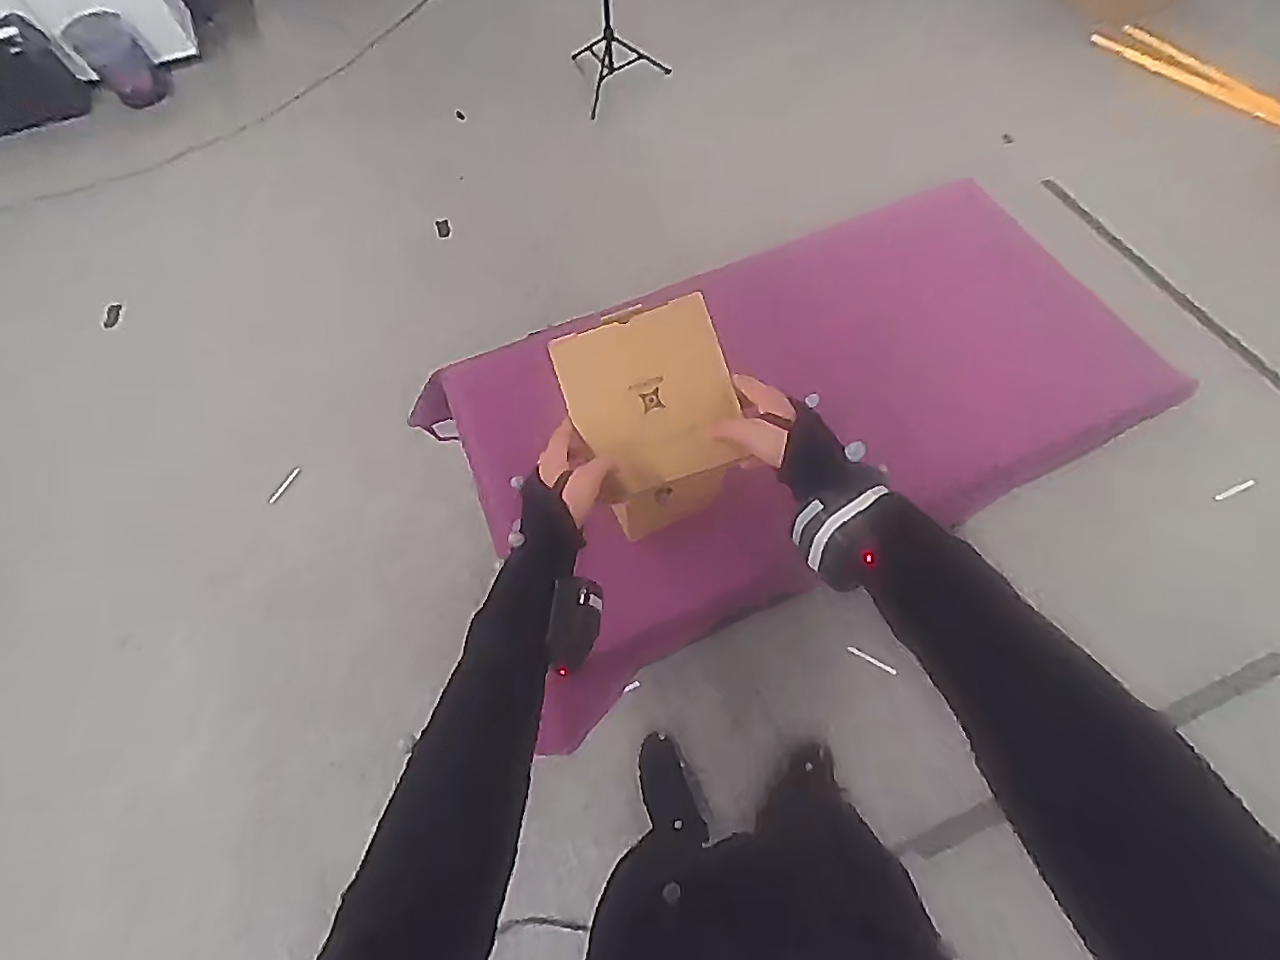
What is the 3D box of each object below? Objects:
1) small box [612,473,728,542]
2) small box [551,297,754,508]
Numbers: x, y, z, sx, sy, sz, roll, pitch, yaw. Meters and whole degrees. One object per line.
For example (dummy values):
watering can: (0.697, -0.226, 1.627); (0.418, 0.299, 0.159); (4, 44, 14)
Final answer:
small box: (0.020, -0.031, 0.840); (0.168, 0.176, 0.179); (-24, 66, -9)
small box: (0.012, -0.074, 0.619); (0.168, 0.176, 0.179); (-18, 86, 0)
